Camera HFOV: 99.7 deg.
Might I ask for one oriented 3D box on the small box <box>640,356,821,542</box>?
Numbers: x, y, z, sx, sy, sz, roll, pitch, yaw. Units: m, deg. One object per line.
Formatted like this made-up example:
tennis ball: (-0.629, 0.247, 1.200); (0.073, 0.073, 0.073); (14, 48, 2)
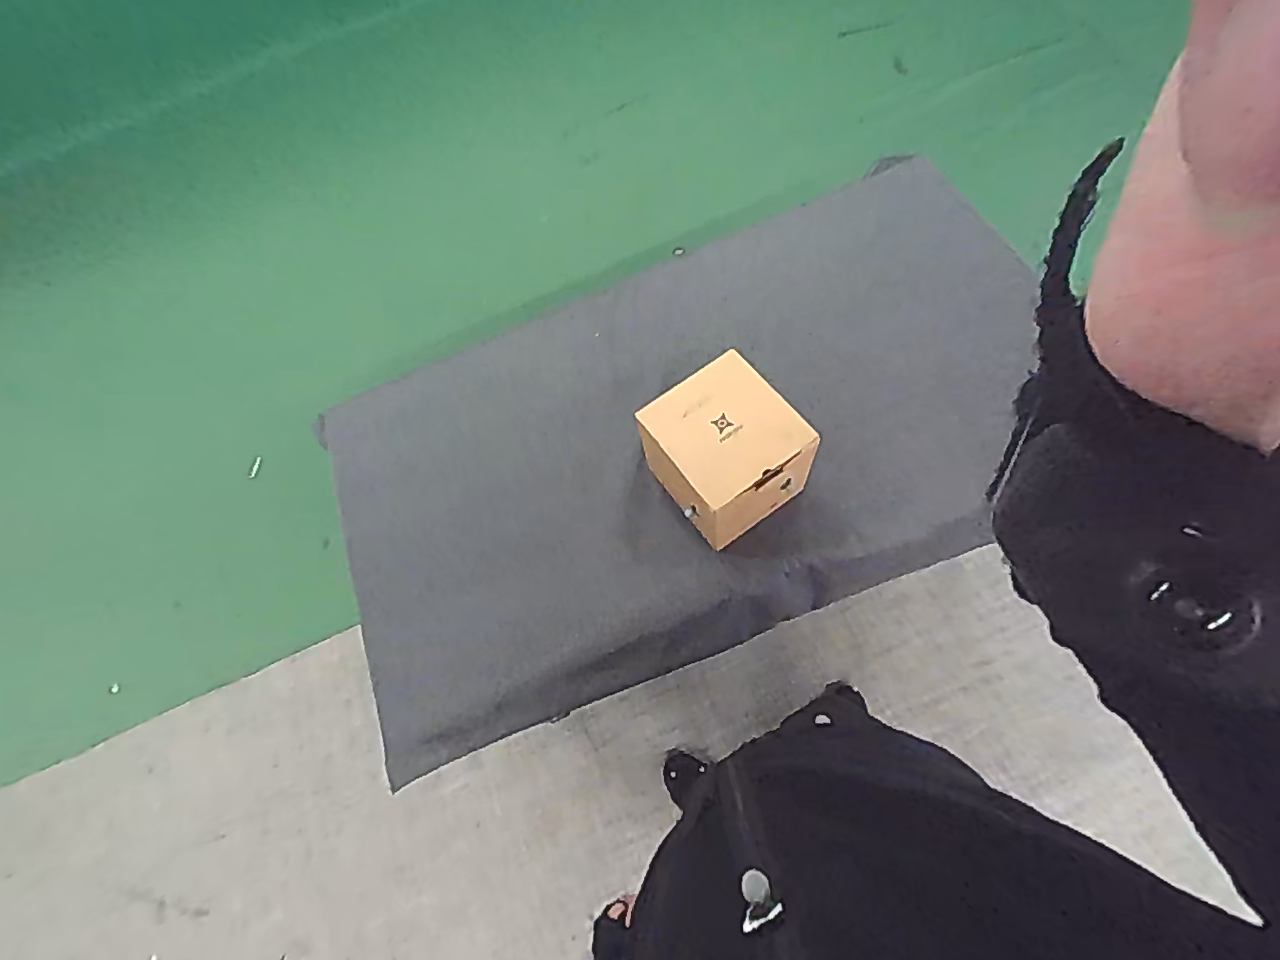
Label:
small box: (0.122, -0.031, 0.760); (0.168, 0.176, 0.179); (-34, 65, -8)
